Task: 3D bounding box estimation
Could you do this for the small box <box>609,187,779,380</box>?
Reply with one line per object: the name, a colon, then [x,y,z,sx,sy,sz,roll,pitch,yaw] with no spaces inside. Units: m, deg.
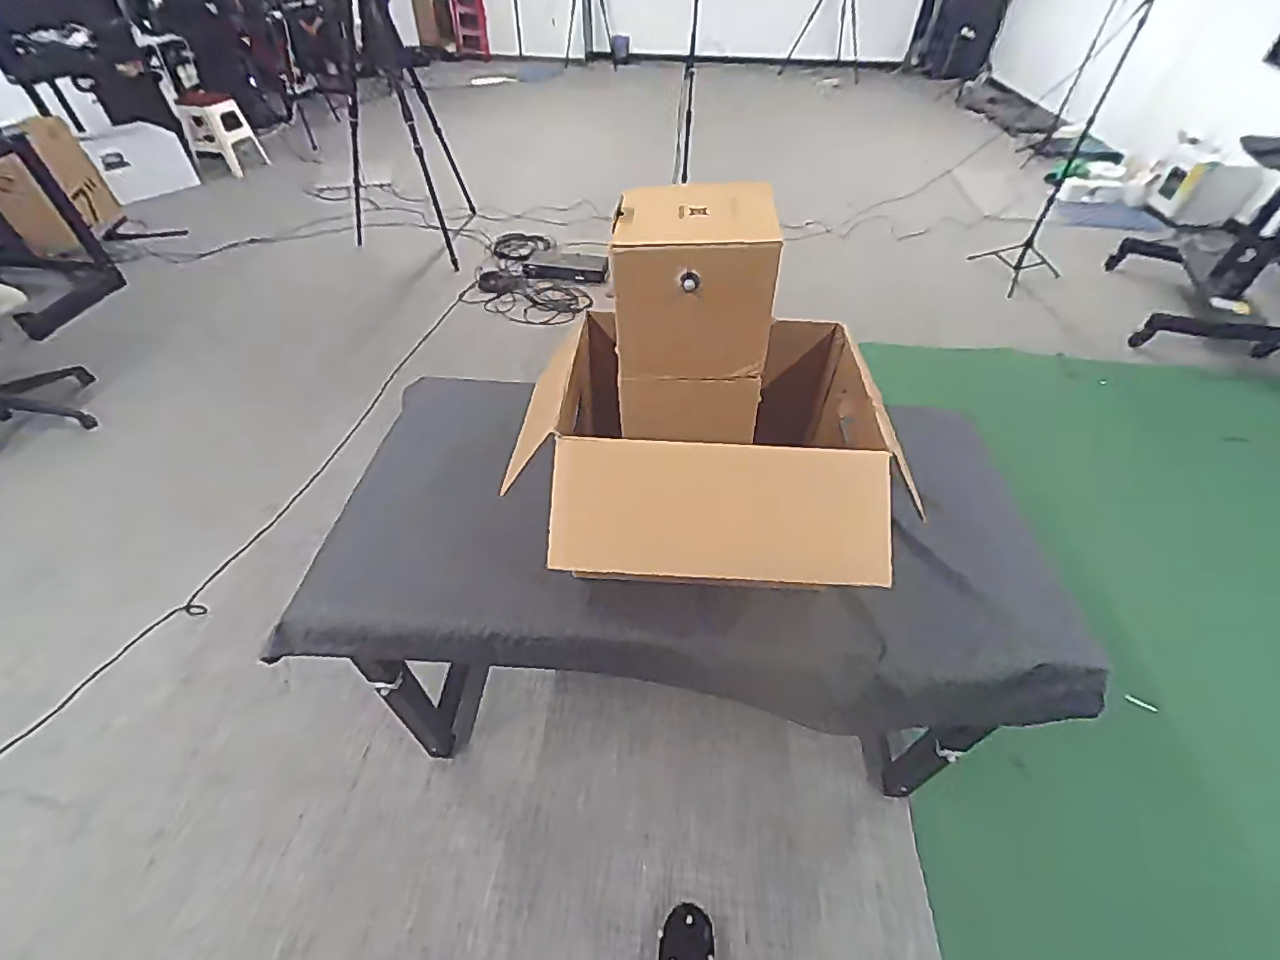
small box: [0.061,-0.236,0.658,0.179,0.176,0.168,1,48,3]
